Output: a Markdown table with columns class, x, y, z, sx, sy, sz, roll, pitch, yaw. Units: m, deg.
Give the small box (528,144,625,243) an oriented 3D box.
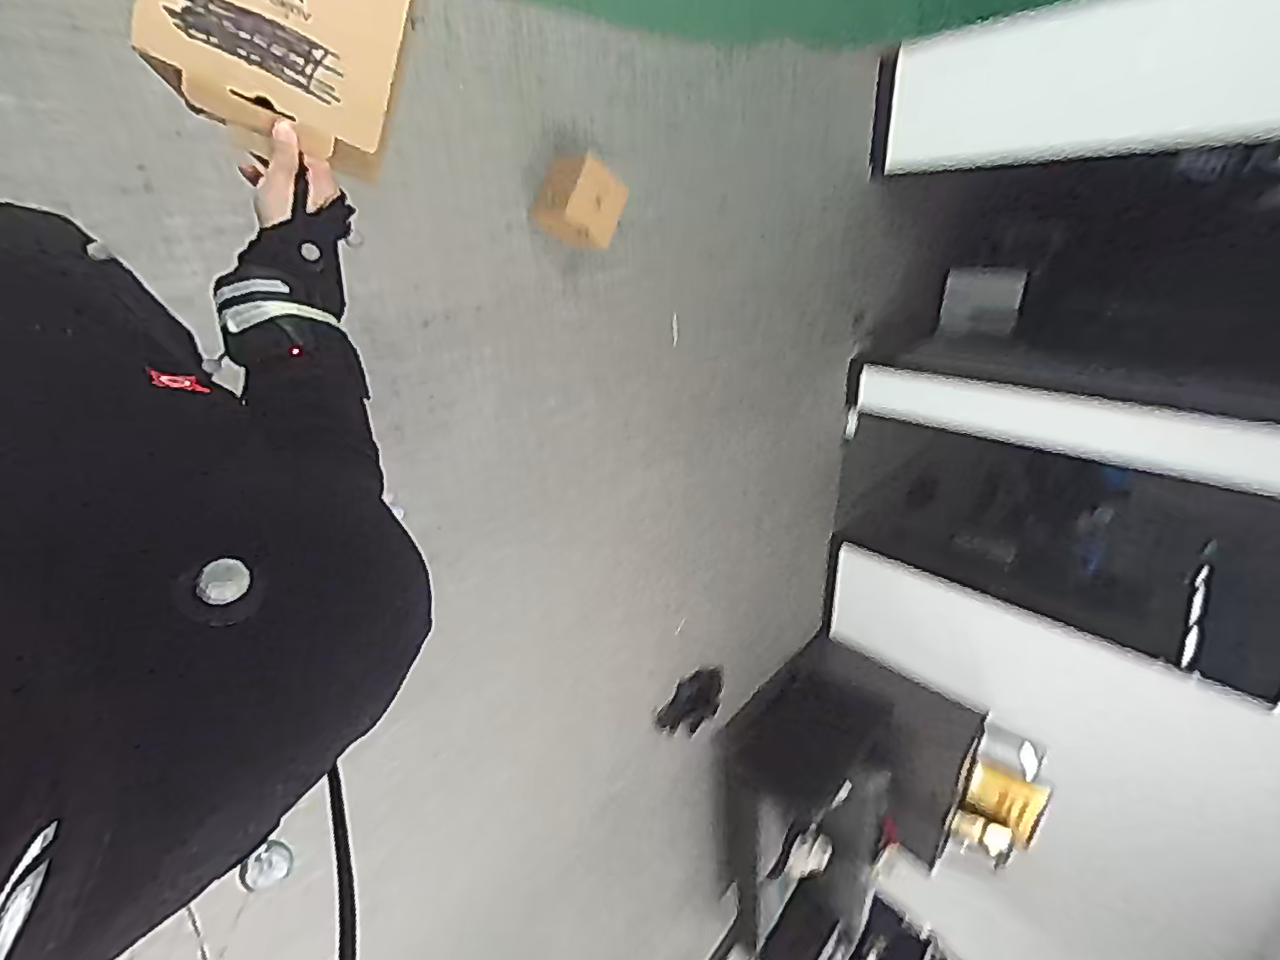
| class | x | y | z | sx | sy | sz | roll | pitch | yaw |
| --- | --- | --- | --- | --- | --- | --- | --- | --- | --- |
| small box | -0.177 | -0.764 | 1.461 | 0.168 | 0.176 | 0.179 | 19 | 91 | -50 |
